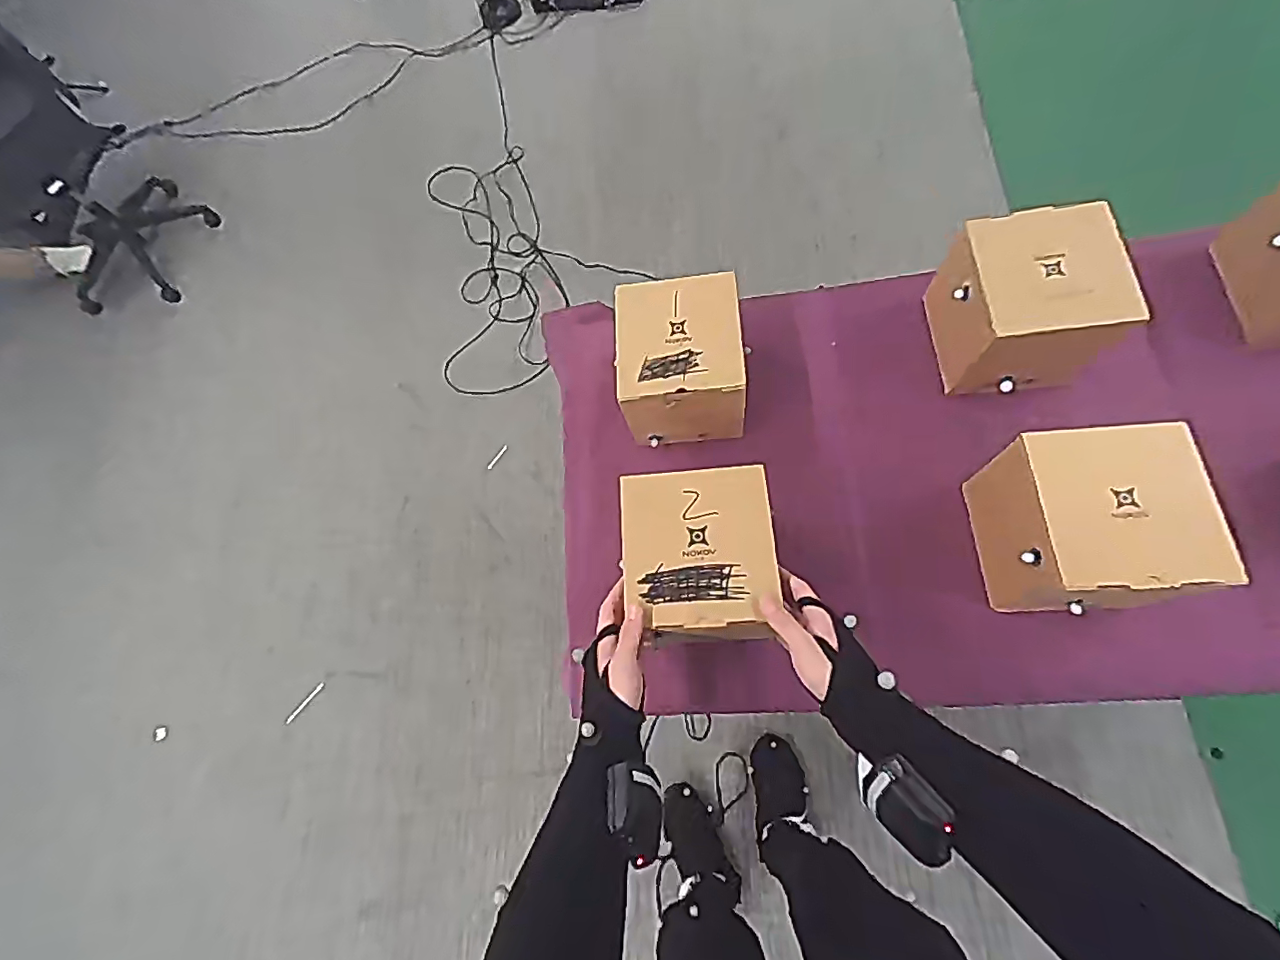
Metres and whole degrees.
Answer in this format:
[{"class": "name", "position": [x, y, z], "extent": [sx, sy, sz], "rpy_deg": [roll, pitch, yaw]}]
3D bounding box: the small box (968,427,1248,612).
[{"class": "small box", "position": [0.516, 0.055, 0.634], "extent": [0.168, 0.176, 0.179], "rpy_deg": [-4, 70, 8]}]

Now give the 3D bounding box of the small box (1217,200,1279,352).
[{"class": "small box", "position": [0.905, -0.287, 0.681], "extent": [0.168, 0.176, 0.179], "rpy_deg": [-5, 72, 10]}]

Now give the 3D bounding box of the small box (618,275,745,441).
[{"class": "small box", "position": [0.064, -0.163, 0.783], "extent": [0.168, 0.176, 0.179], "rpy_deg": [-4, 71, 8]}]

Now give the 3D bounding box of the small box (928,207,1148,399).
[{"class": "small box", "position": [0.514, -0.230, 0.733], "extent": [0.168, 0.176, 0.179], "rpy_deg": [-4, 72, 9]}]
